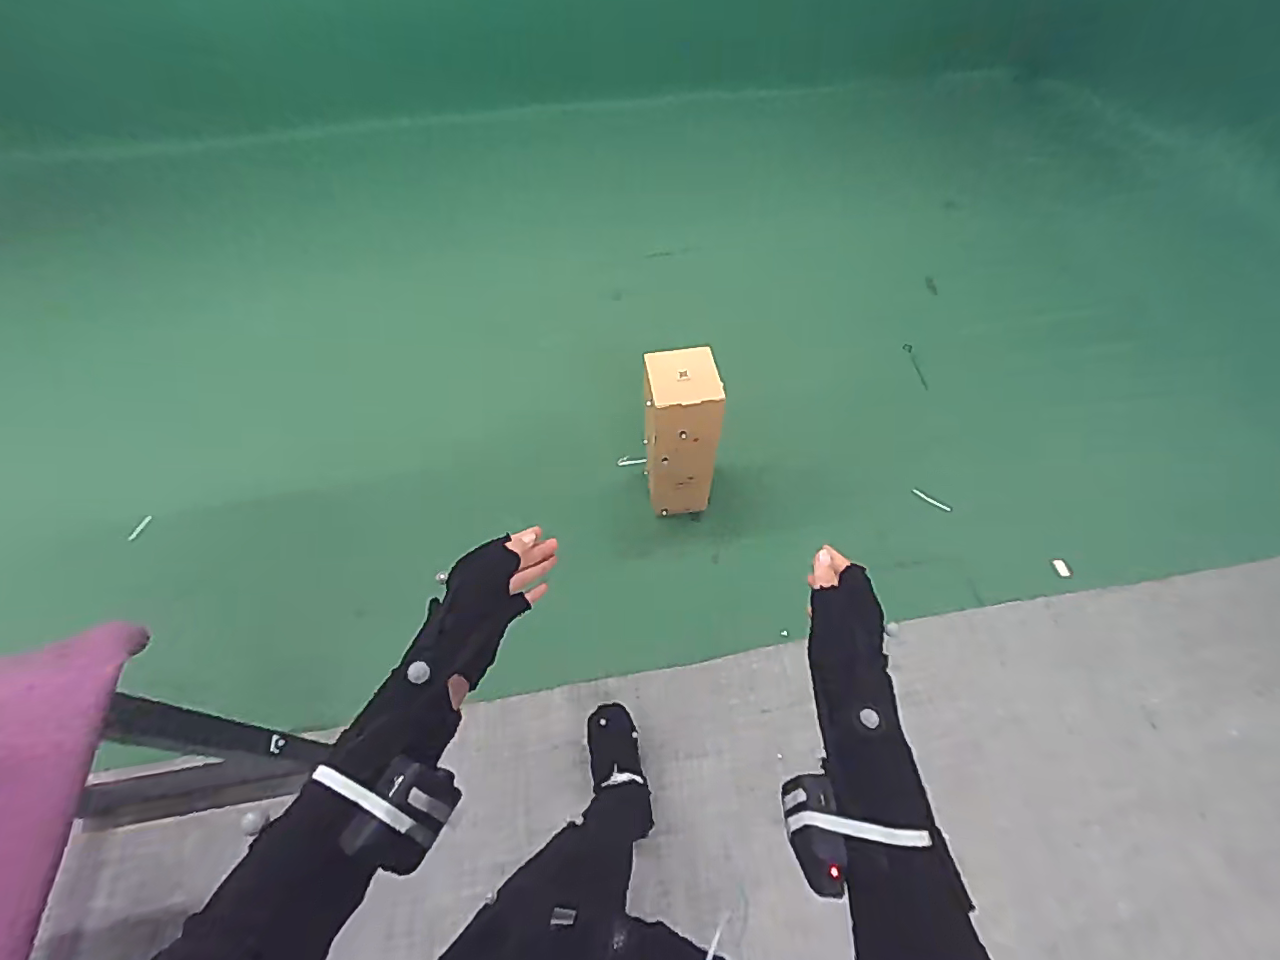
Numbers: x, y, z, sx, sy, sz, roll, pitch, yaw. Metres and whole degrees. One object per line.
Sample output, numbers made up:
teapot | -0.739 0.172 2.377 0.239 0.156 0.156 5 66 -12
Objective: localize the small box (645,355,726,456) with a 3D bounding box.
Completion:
small box | 0.105 -0.184 1.346 0.168 0.176 0.179 -8 56 -5

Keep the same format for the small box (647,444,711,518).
small box | 0.111 0.003 1.615 0.168 0.176 0.179 -6 56 -3
